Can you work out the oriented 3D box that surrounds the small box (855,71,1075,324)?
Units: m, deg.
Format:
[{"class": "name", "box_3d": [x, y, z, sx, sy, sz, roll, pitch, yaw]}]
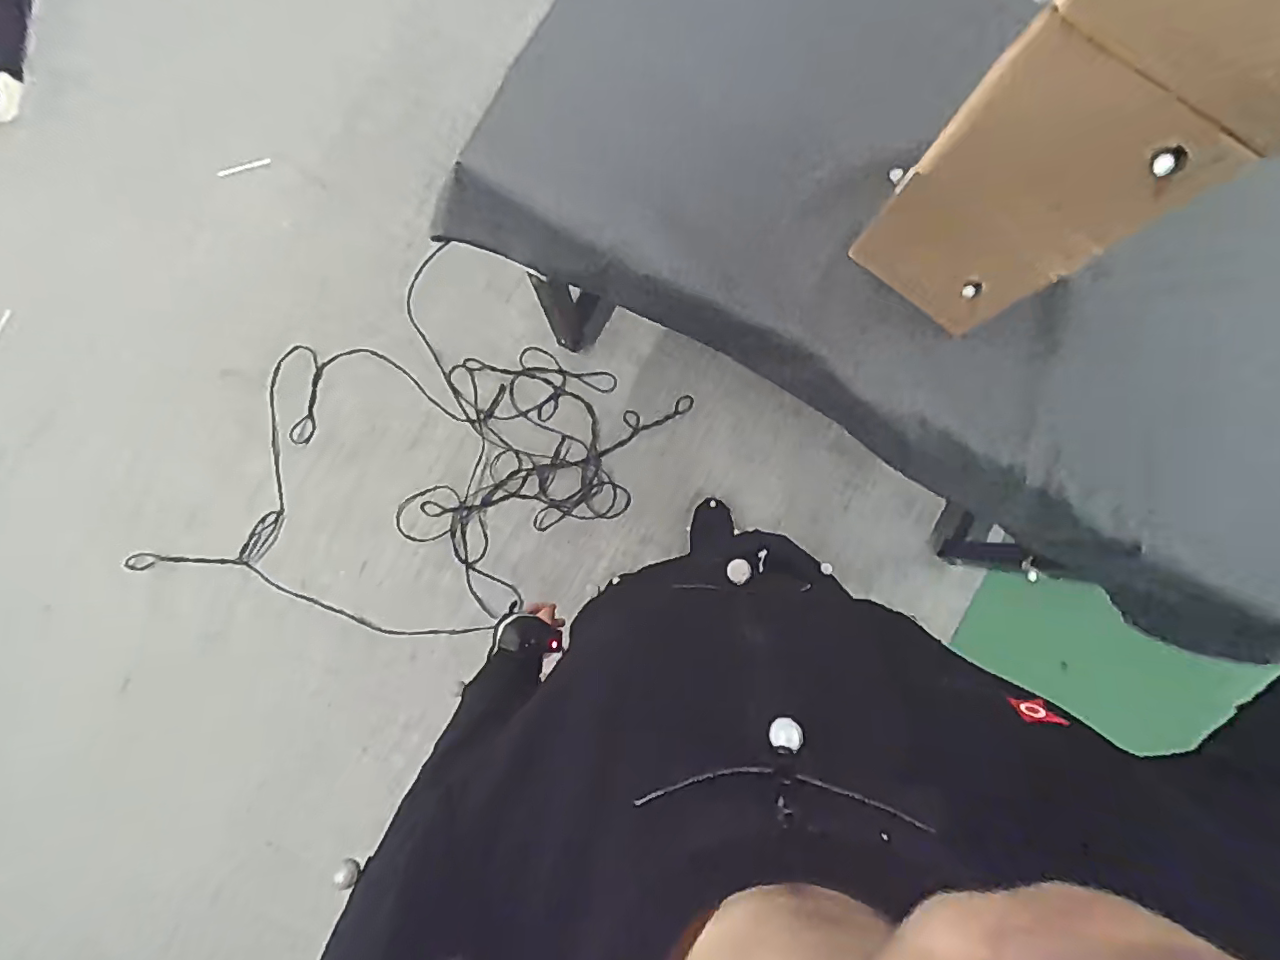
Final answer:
[{"class": "small box", "box_3d": [0.383, -0.299, 0.604, 0.179, 0.176, 0.168, 38, 85, 3]}]

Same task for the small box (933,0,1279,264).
[{"class": "small box", "box_3d": [0.389, -0.316, 0.442, 0.179, 0.176, 0.168, 38, 85, 1]}]
